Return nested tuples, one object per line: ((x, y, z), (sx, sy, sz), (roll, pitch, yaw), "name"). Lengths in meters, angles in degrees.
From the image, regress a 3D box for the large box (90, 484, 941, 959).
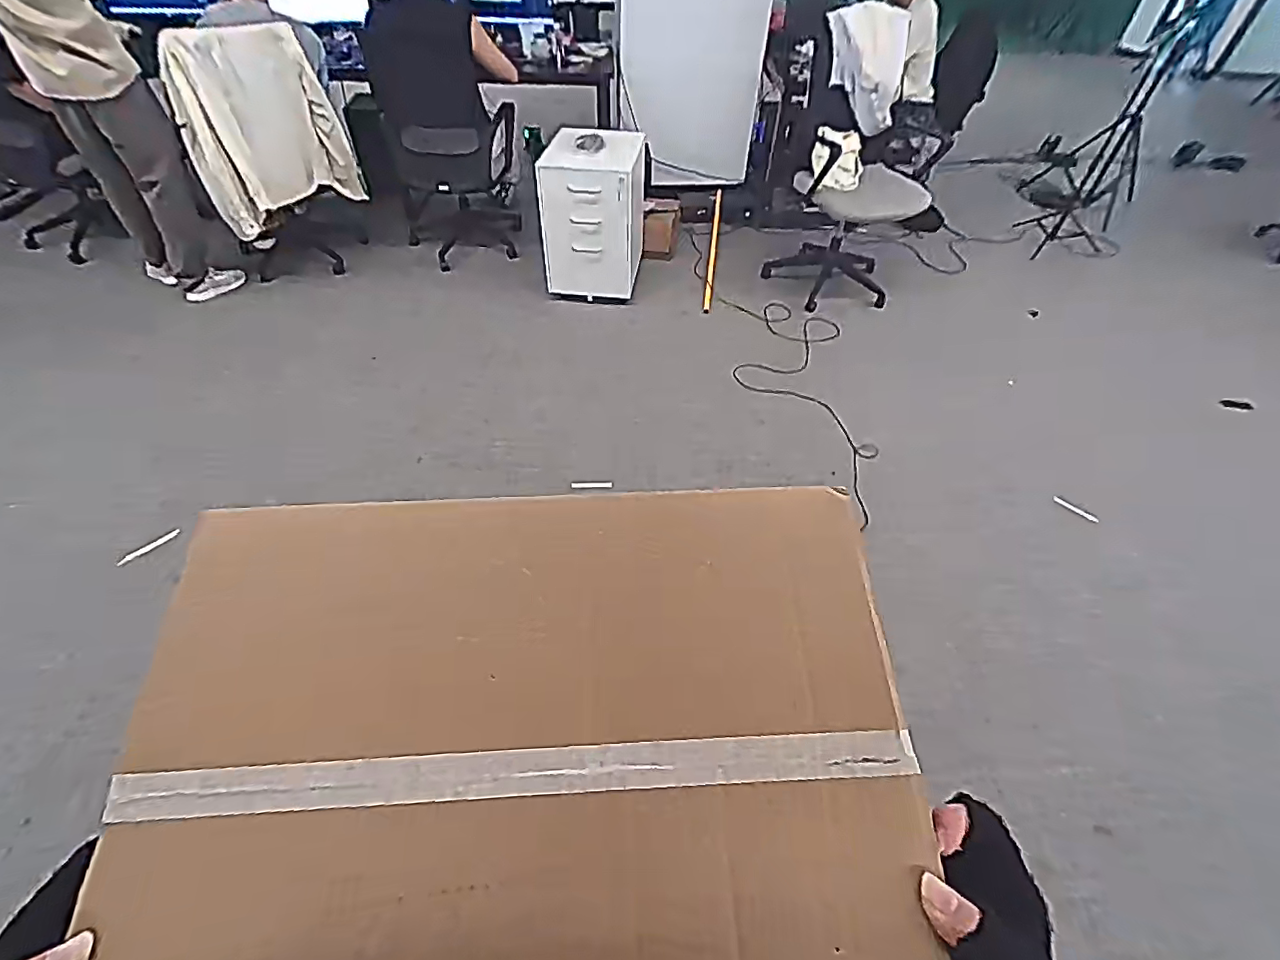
((-0.063, 0.215, 0.424), (0.408, 0.320, 0.320), (-2, 64, -2), "large box")
